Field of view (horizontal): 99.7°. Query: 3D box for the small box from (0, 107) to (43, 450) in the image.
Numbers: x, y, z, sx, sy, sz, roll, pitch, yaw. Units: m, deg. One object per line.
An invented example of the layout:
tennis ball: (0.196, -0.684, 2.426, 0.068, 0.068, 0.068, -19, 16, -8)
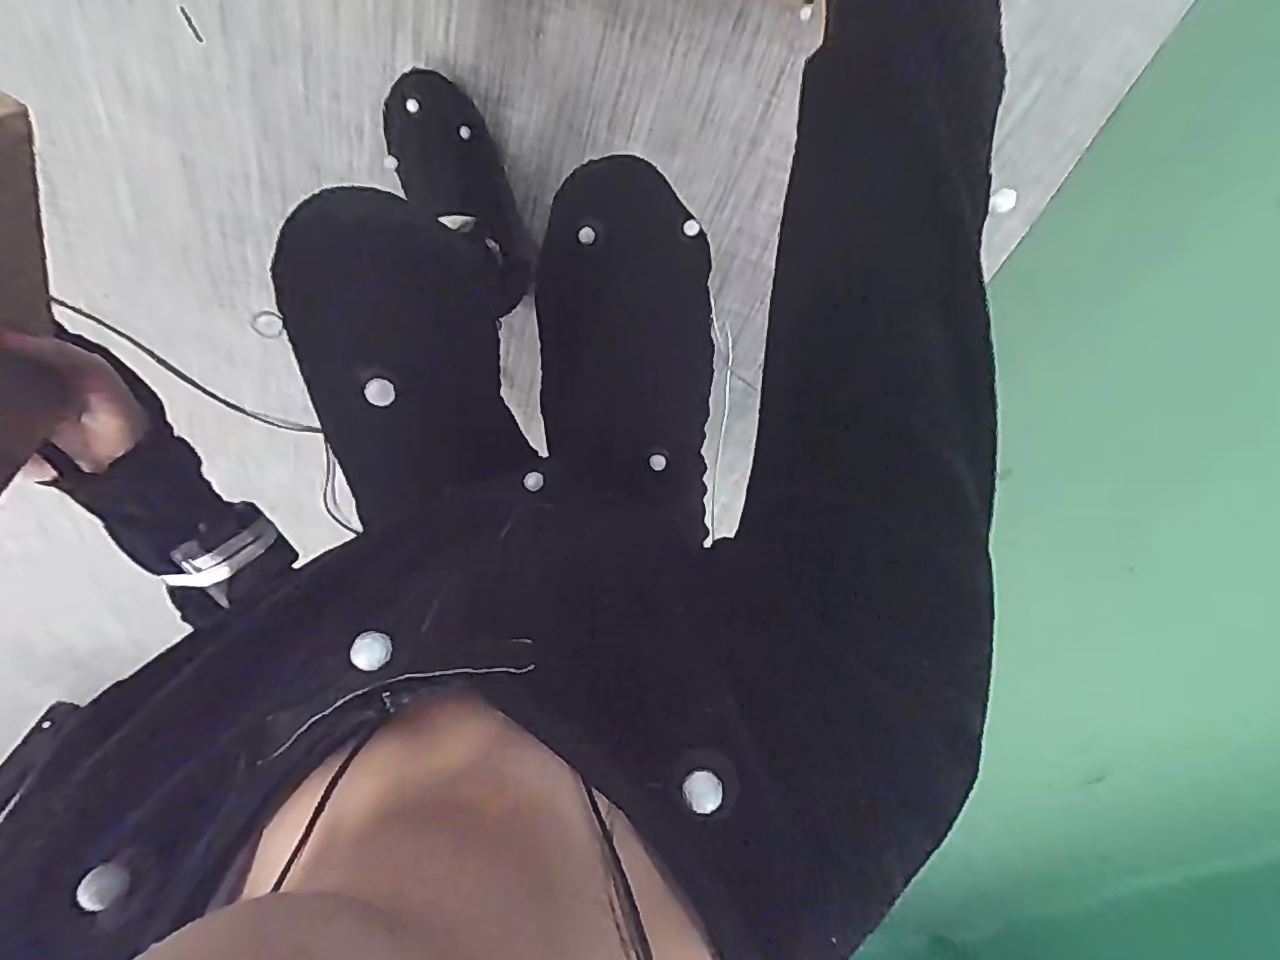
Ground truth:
small box: (-0.342, -0.064, 0.172, 0.168, 0.176, 0.179, 12, 127, -33)
